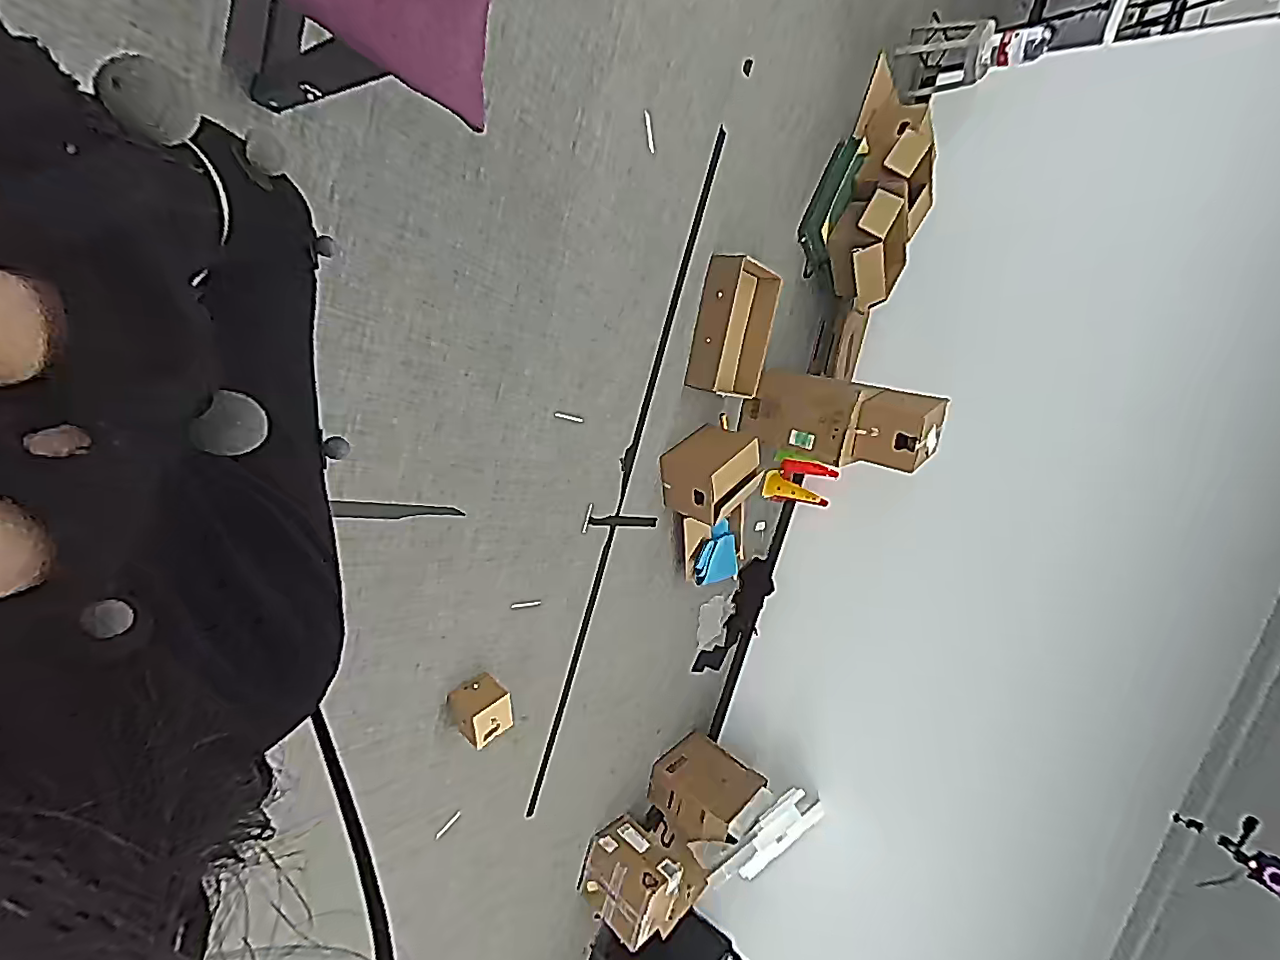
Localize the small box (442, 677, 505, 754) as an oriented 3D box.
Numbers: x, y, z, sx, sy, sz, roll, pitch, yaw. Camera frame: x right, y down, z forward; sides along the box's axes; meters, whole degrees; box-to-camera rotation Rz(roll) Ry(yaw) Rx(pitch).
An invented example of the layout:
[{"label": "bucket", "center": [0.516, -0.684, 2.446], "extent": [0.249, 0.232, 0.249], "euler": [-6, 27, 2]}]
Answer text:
[{"label": "small box", "center": [-0.645, 0.905, 2.094], "extent": [0.168, 0.176, 0.179], "euler": [-24, 124, -44]}]
